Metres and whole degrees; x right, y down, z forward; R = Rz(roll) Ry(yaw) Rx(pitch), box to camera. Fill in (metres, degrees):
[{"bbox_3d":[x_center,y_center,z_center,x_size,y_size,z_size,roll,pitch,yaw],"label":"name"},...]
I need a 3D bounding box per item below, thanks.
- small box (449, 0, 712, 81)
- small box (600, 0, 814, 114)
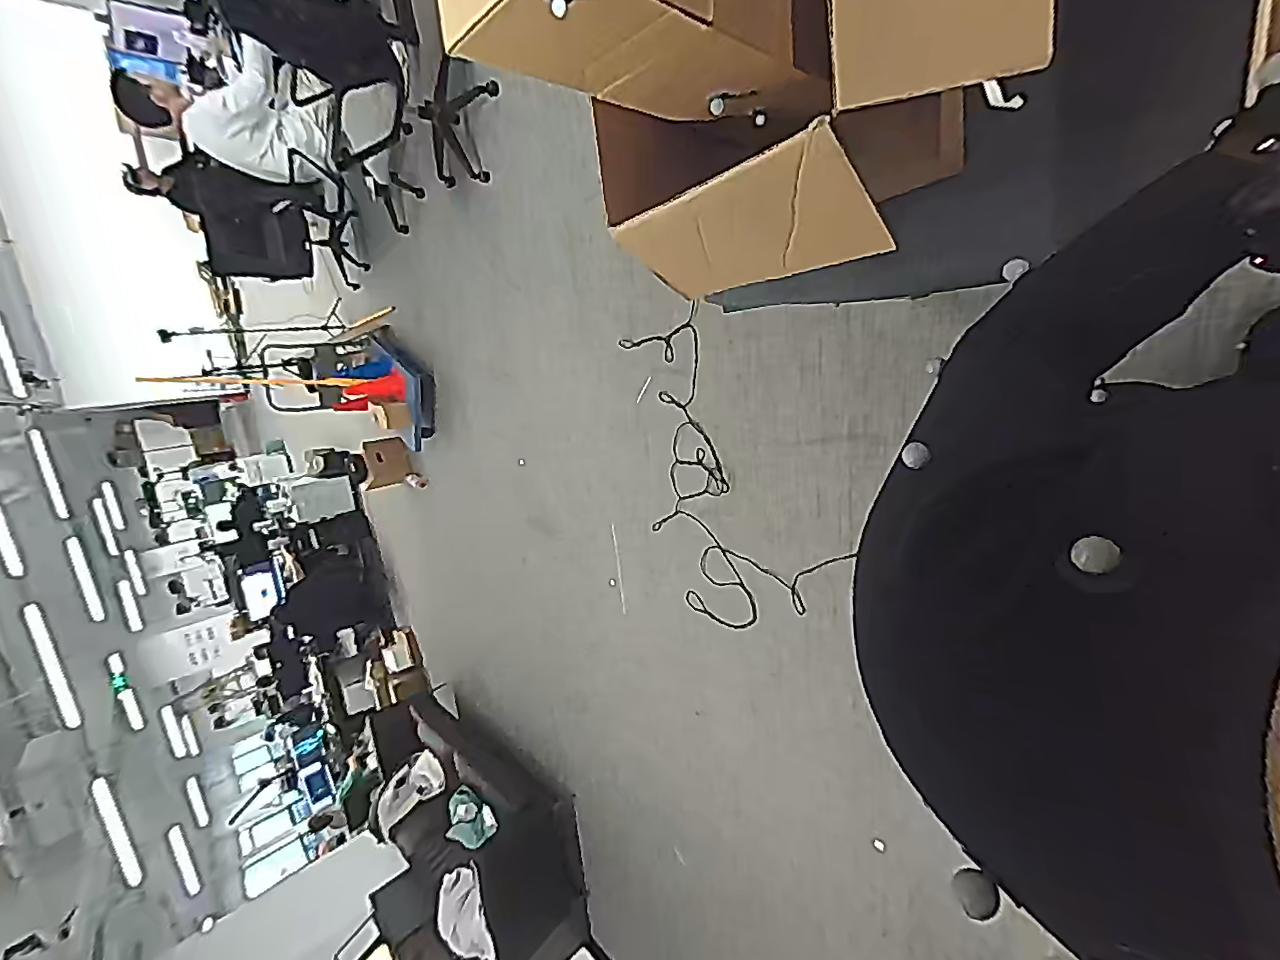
[{"bbox_3d":[-0.053,-0.472,0.454,0.179,0.176,0.168,12,113,45],"label":"small box"},{"bbox_3d":[0.065,-0.513,0.557,0.168,0.176,0.179,12,114,46],"label":"small box"}]
